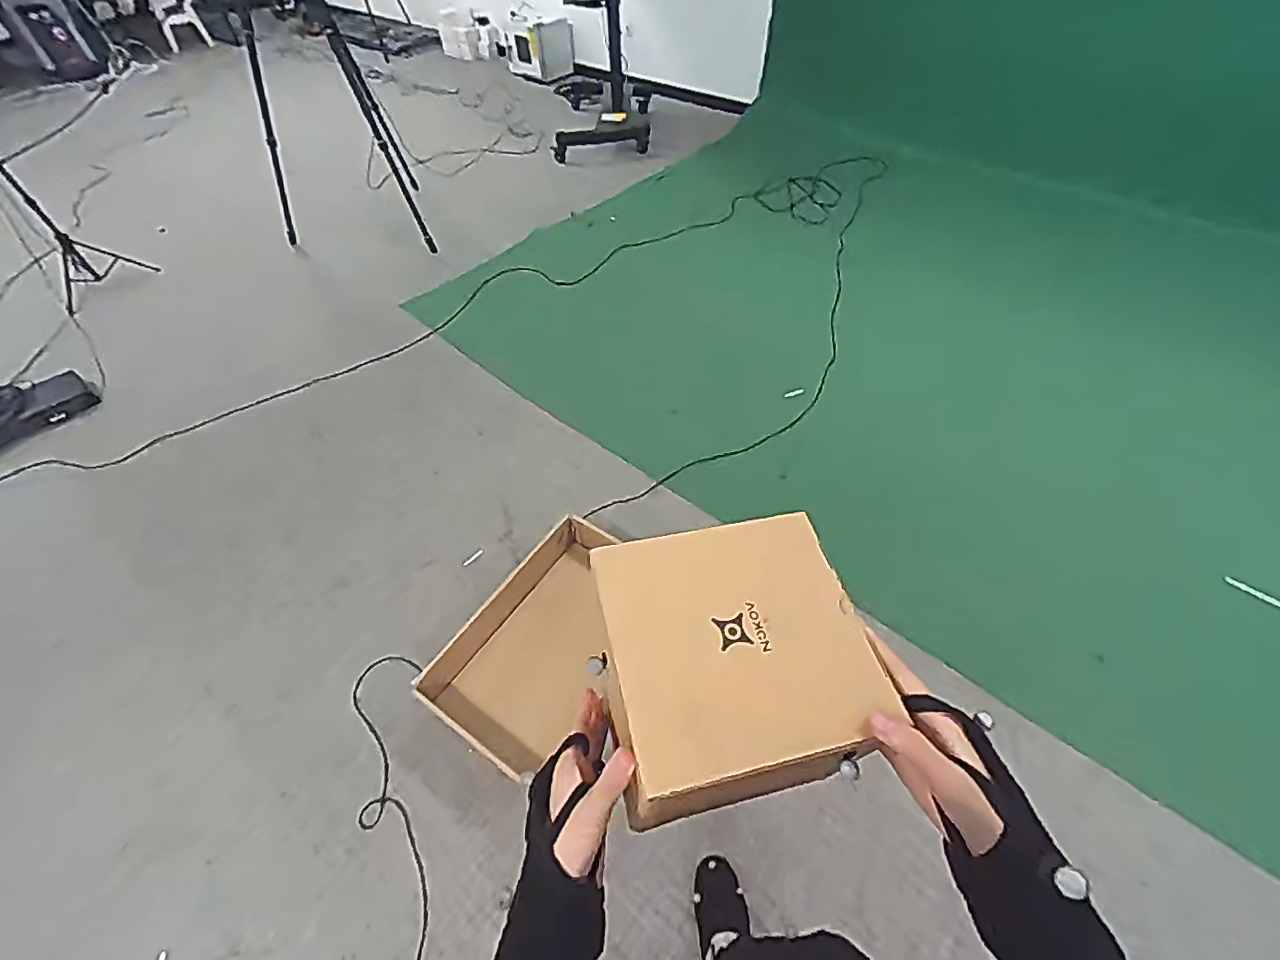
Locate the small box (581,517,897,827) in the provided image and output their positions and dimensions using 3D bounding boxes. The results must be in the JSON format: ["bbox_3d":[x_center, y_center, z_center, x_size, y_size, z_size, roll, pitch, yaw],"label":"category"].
[{"bbox_3d":[0.055,0.155,0.430,0.179,0.176,0.168,-9,54,-13],"label":"small box"}]
